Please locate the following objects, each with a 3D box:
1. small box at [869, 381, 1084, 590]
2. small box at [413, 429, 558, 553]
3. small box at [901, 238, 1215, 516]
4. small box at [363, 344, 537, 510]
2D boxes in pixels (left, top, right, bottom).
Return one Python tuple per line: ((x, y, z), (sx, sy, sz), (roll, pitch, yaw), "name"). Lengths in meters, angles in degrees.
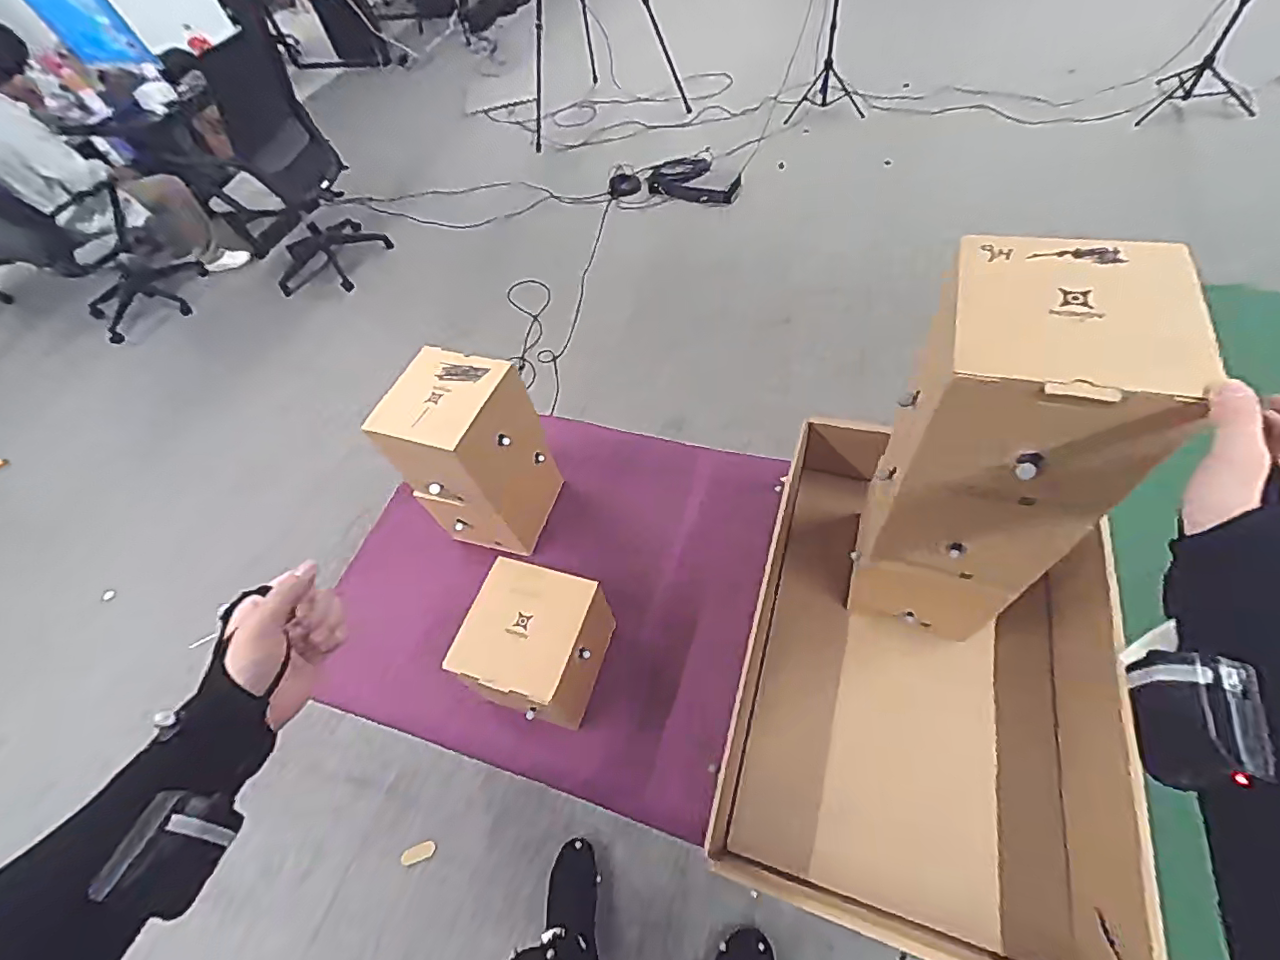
((0.372, 0.003, 0.621), (0.168, 0.176, 0.179), (14, 60, 18), "small box")
((-0.266, 0.011, 0.985), (0.168, 0.176, 0.179), (10, 57, 16), "small box")
((0.346, -0.089, 0.488), (0.168, 0.176, 0.179), (12, 60, 17), "small box")
((-0.280, -0.082, 0.850), (0.168, 0.176, 0.179), (14, 60, 18), "small box")
